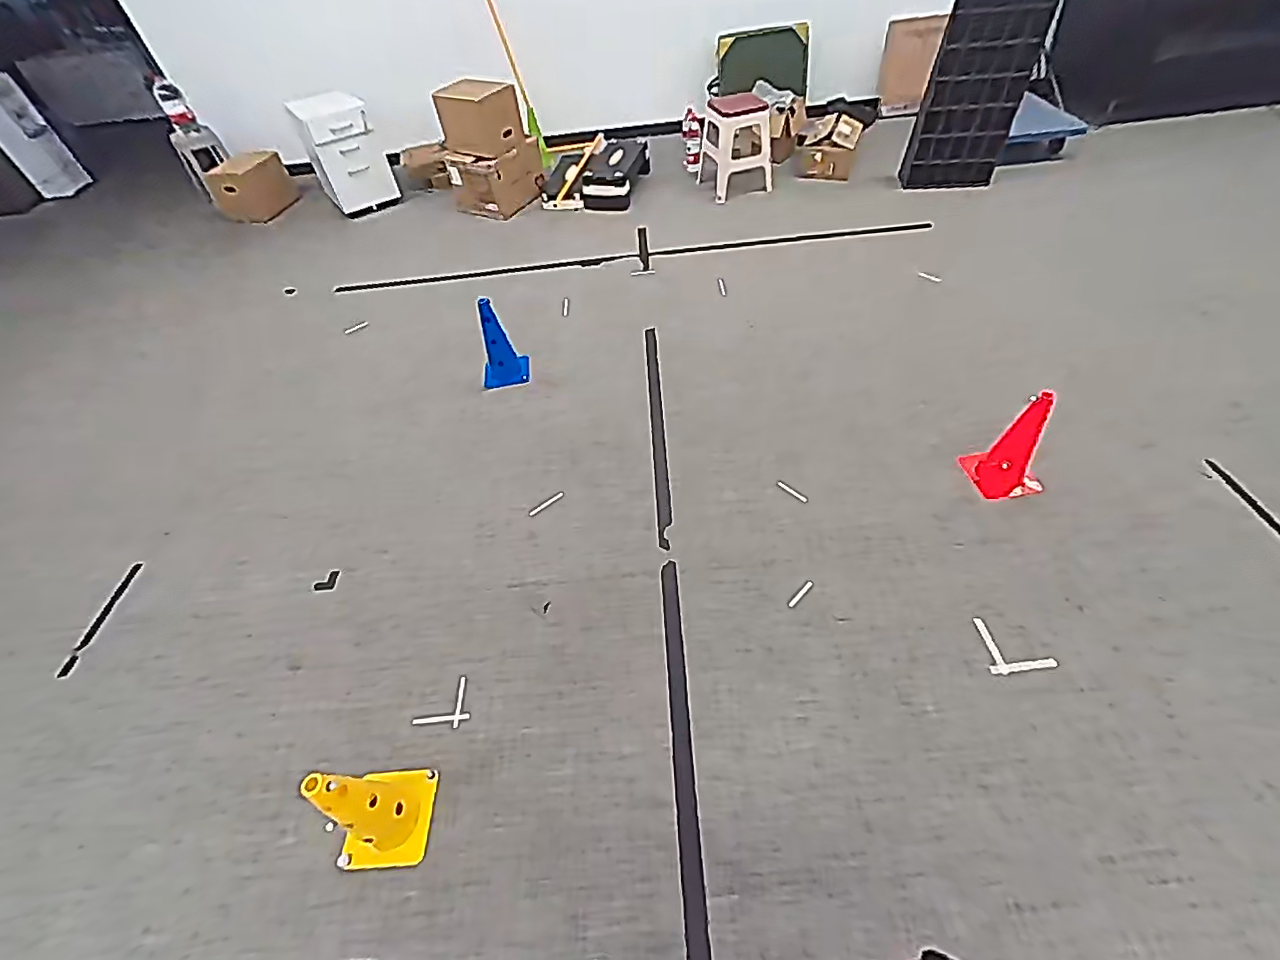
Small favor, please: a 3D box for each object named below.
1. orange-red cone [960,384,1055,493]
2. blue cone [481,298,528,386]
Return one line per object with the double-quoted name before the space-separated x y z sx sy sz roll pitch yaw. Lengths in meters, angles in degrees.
"orange-red cone" 1.195 -0.152 1.694 0.198 0.360 0.199 -8 48 -1
"blue cone" -0.613 -0.597 2.300 0.192 0.380 0.193 -9 49 -1
